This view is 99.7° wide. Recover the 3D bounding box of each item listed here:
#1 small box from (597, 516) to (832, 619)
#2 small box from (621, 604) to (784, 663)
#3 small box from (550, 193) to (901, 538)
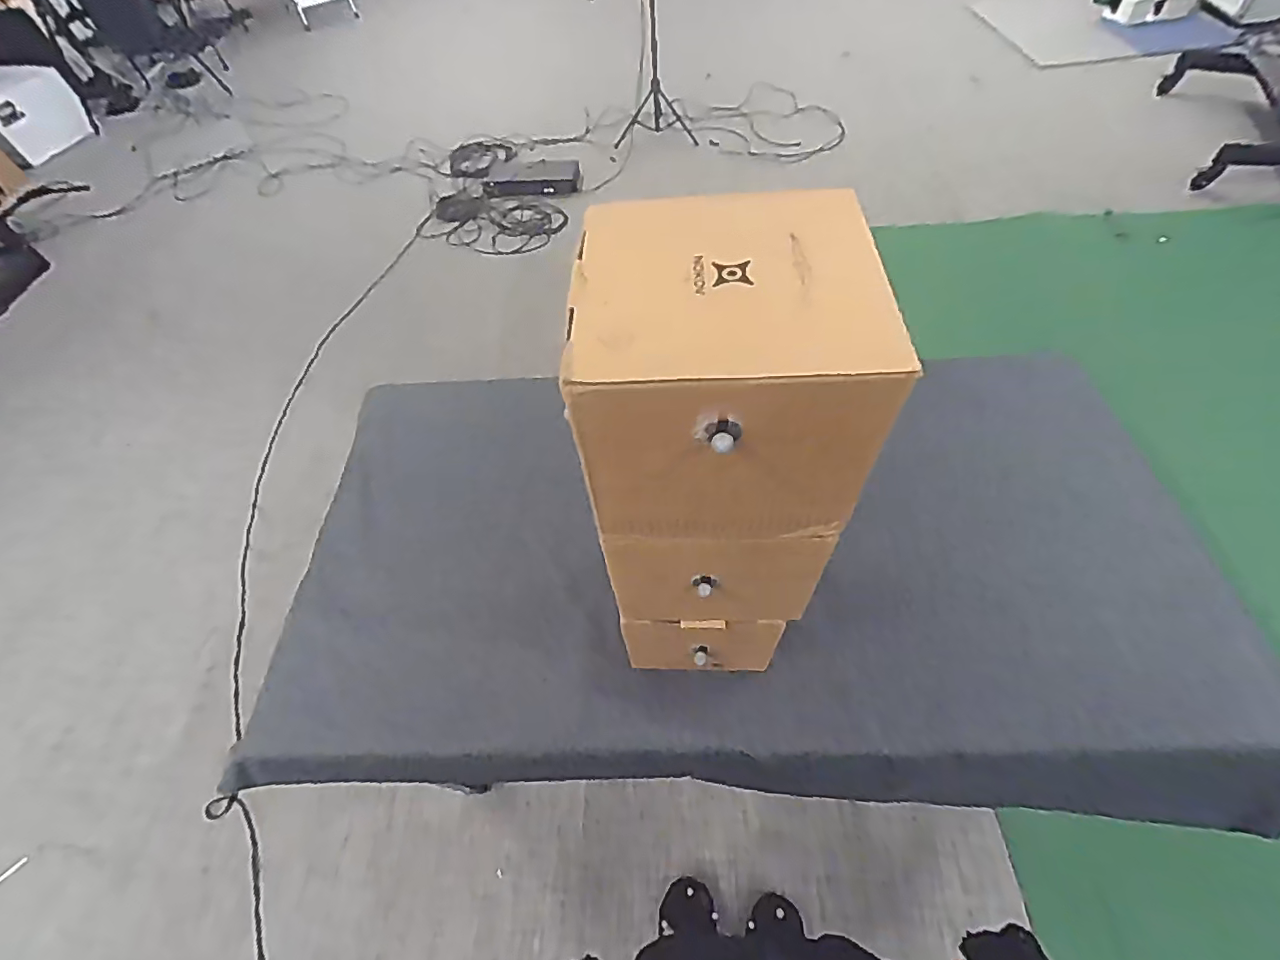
[{"bbox_3d":[0.063,0.023,0.508,0.179,0.176,0.168,-3,55,6],"label":"small box"},{"bbox_3d":[0.072,0.113,0.645,0.168,0.176,0.179,-2,56,5],"label":"small box"},{"bbox_3d":[0.049,-0.069,0.375,0.179,0.176,0.168,-2,56,4],"label":"small box"}]
